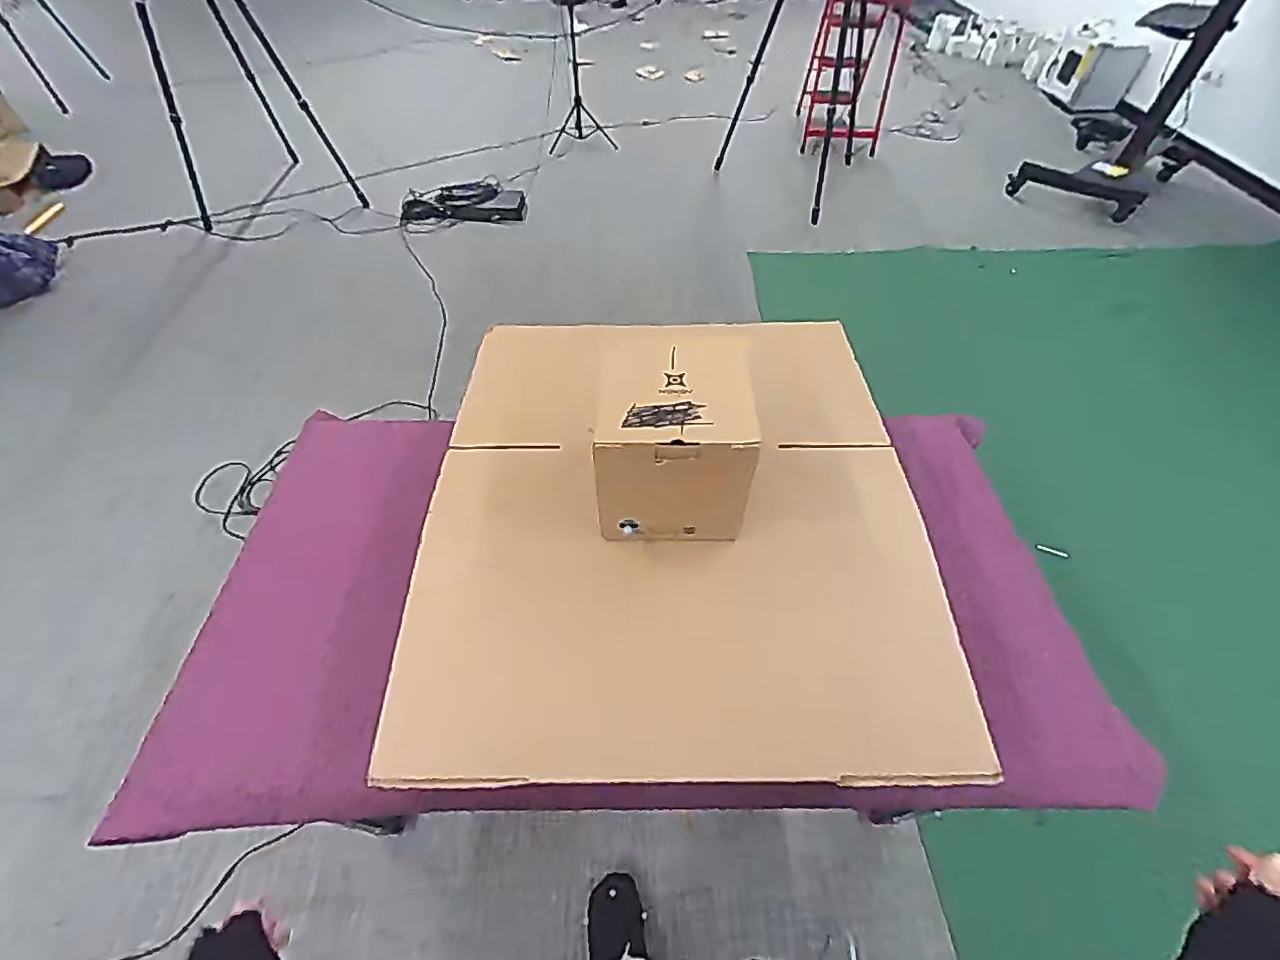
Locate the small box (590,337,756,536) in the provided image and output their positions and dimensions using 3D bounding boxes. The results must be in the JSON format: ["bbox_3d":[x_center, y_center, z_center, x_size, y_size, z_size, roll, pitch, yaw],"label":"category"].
[{"bbox_3d":[0.035,-0.047,0.636,0.168,0.176,0.179,0,50,0],"label":"small box"}]
